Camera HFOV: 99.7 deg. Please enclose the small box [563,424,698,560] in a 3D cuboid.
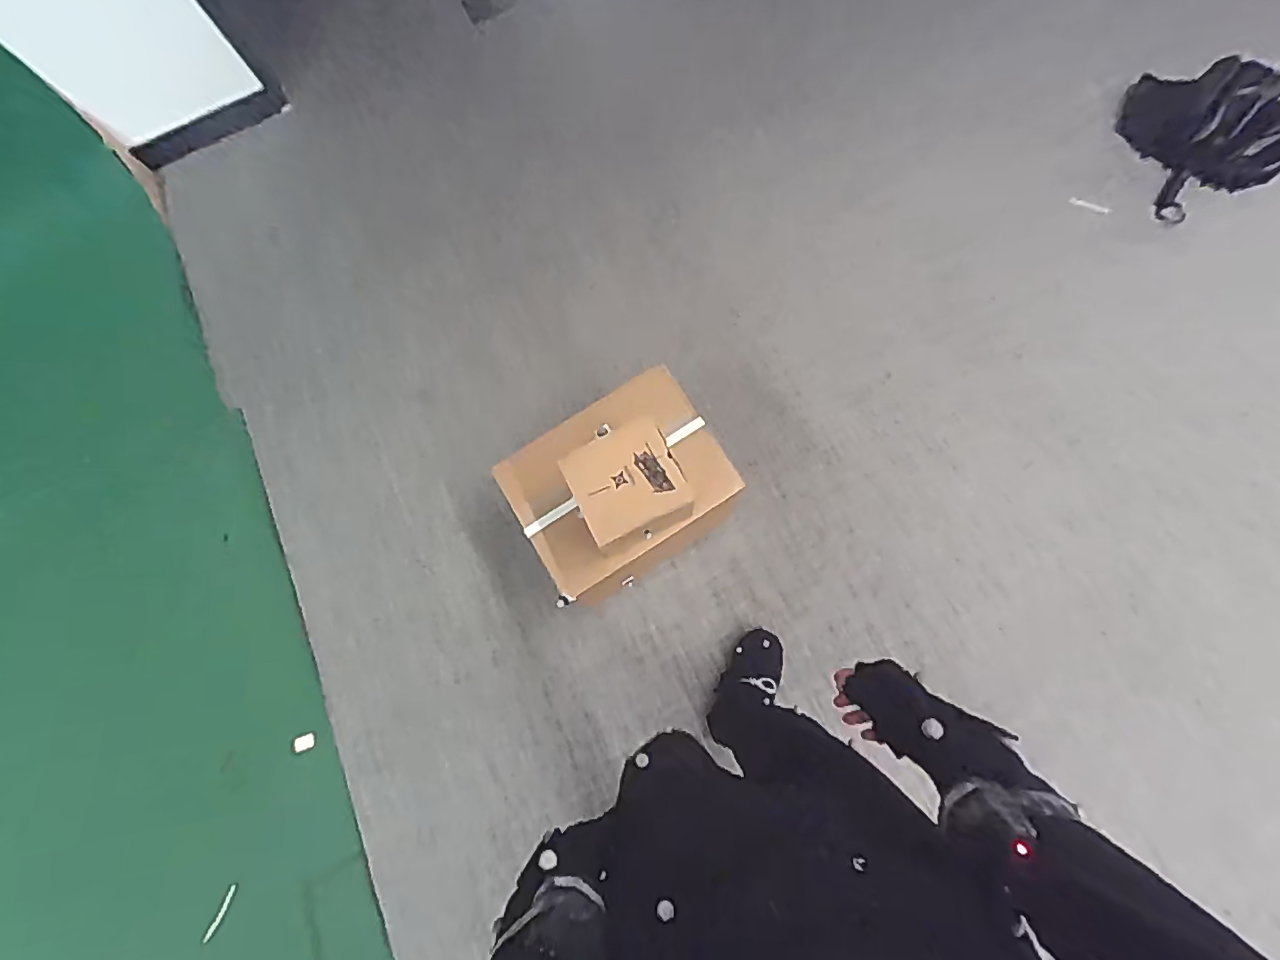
[{"bbox_3d":[-0.012,0.029,0.961,0.179,0.176,0.168,-27,76,-2],"label":"small box"}]
